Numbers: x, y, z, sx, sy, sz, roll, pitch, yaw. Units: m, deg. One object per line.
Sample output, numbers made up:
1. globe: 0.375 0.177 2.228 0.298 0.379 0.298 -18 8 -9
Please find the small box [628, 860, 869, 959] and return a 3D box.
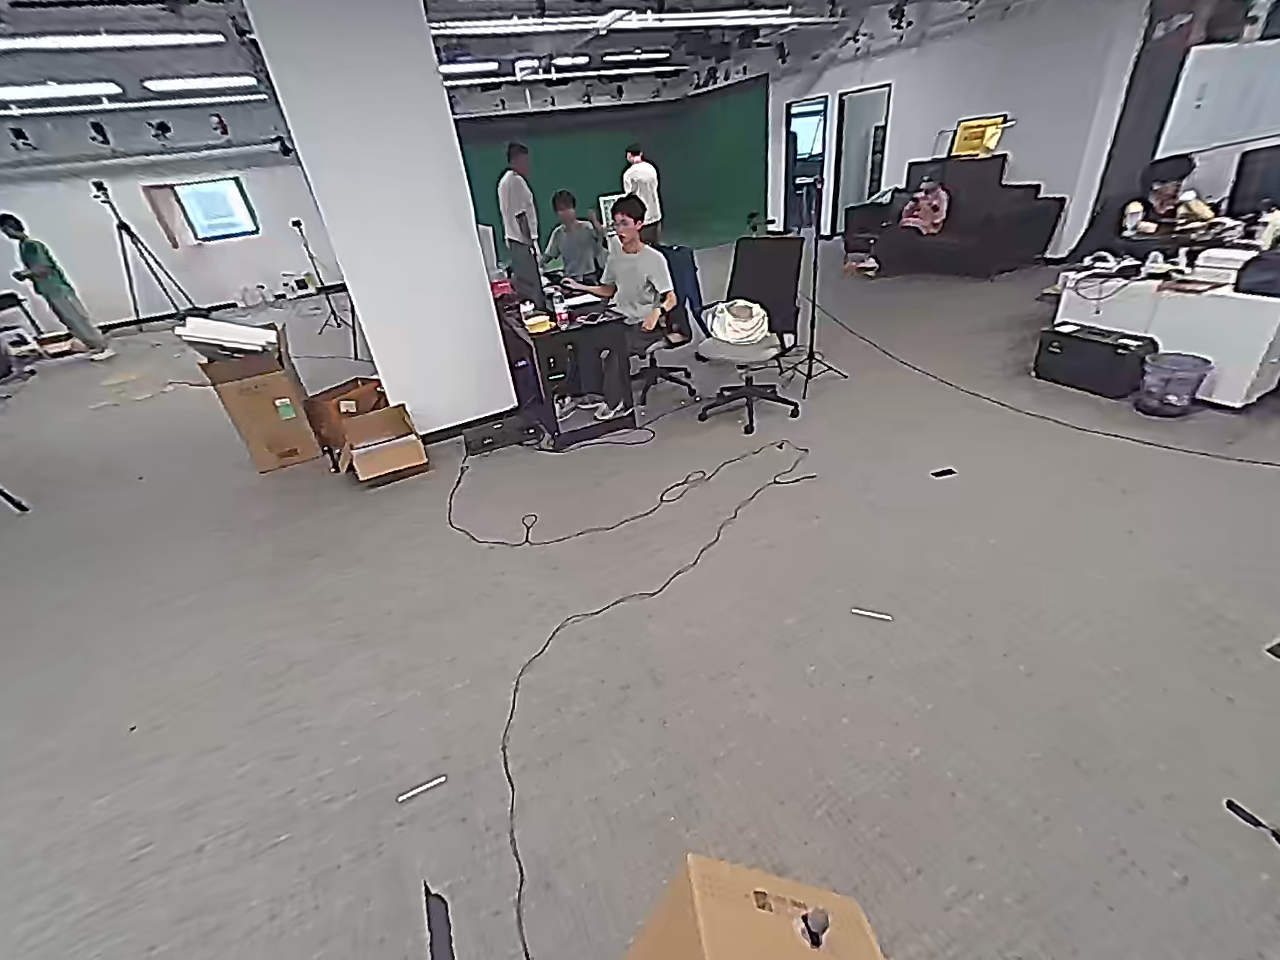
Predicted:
1. small box: 0.083 0.433 0.396 0.168 0.179 0.176 22 14 -12
